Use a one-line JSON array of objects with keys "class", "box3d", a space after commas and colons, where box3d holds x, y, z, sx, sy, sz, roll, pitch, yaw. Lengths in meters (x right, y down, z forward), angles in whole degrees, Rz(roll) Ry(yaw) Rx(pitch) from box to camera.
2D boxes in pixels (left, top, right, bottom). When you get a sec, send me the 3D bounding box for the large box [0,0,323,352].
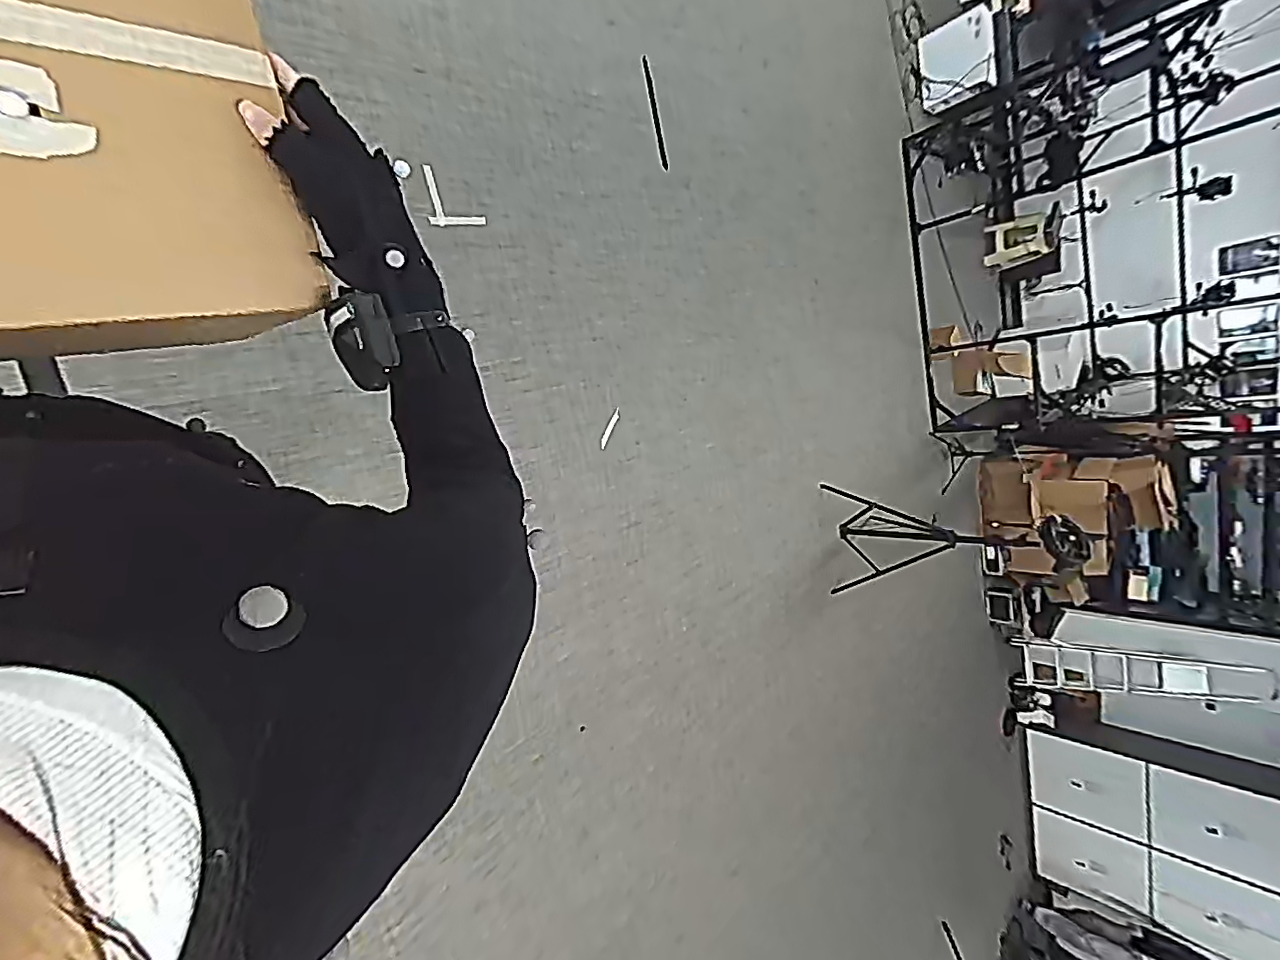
[{"class": "large box", "box3d": [-0.512, -0.247, 0.353, 0.408, 0.320, 0.320, -23, 113, -43]}]
